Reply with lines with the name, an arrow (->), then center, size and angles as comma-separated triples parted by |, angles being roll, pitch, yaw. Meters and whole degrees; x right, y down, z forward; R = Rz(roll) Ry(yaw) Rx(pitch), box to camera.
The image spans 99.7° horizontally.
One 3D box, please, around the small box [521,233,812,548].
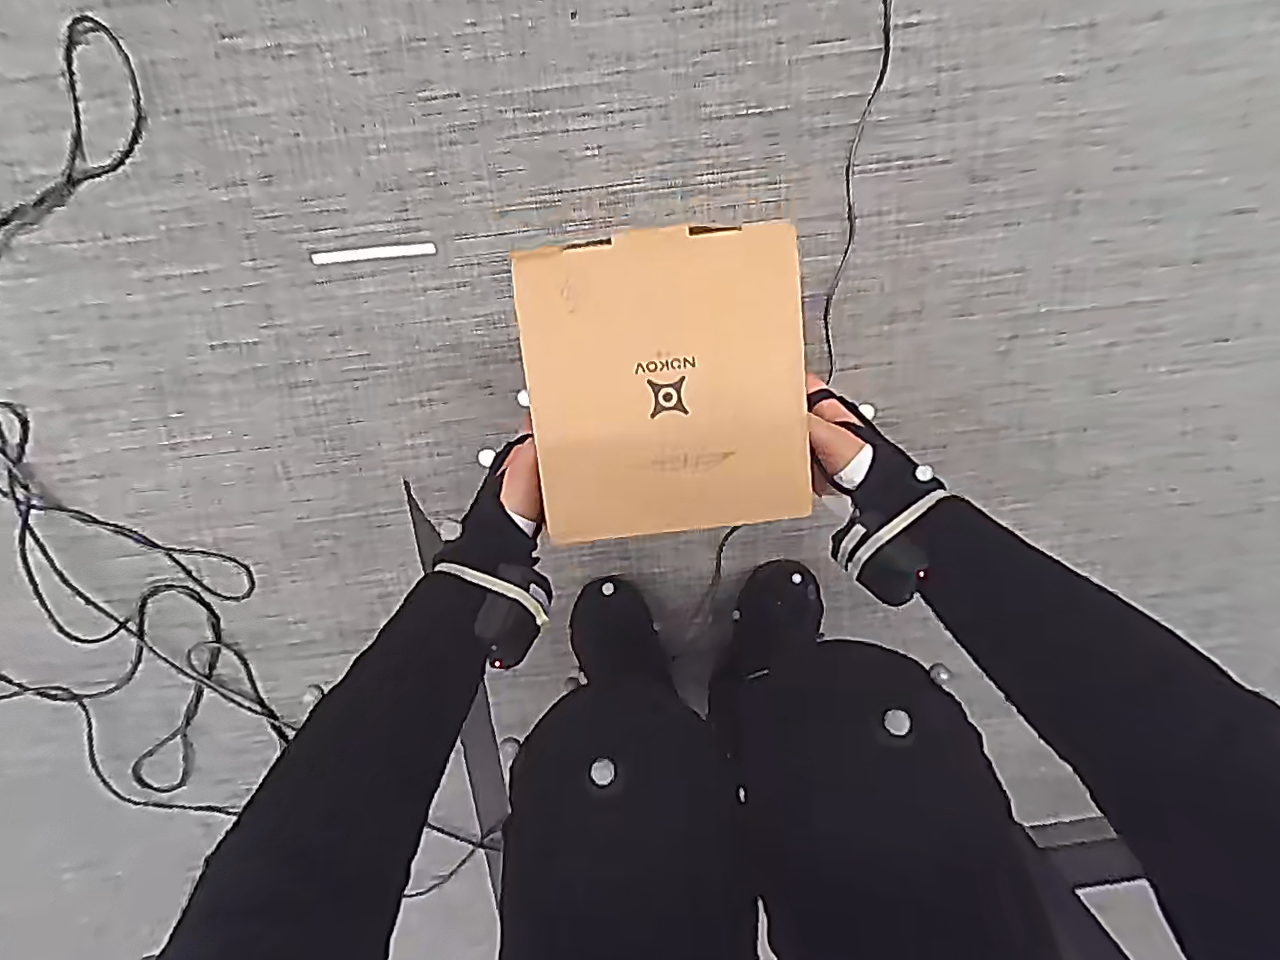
small box -> 0.018, -0.064, 0.406 | 0.168, 0.176, 0.179 | -7, 101, 1
